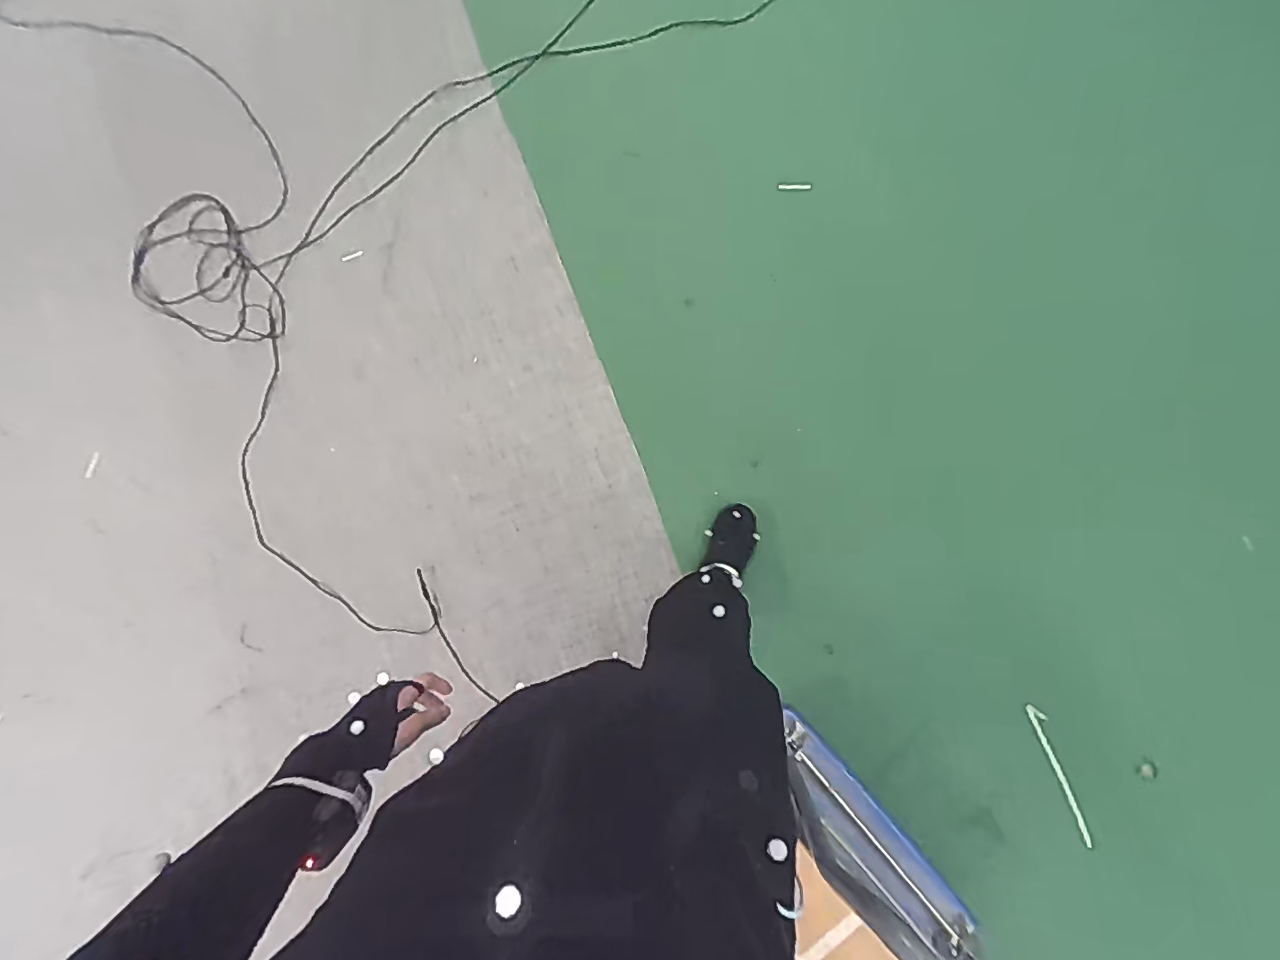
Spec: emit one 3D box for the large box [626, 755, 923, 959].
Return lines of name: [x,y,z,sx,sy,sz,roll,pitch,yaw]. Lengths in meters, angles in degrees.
large box: [0.232,0.818,1.010,0.408,0.320,0.320,-43,78,2]
